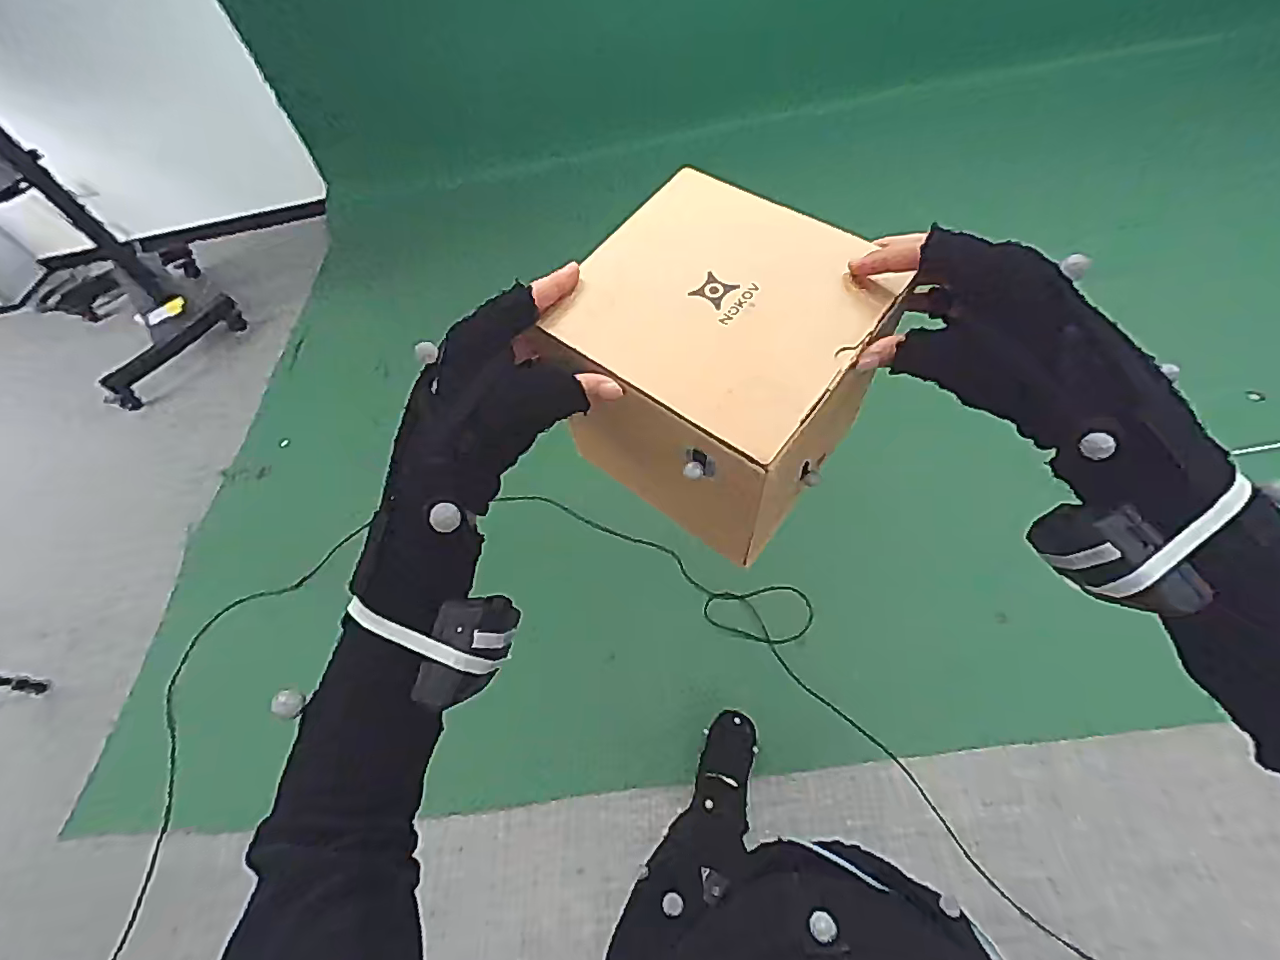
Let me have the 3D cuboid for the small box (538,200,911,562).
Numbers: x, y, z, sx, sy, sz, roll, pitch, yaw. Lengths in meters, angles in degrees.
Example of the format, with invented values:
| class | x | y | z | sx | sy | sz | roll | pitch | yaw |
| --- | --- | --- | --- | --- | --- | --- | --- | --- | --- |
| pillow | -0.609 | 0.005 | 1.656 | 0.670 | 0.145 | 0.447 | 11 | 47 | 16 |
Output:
| class | x | y | z | sx | sy | sz | roll | pitch | yaw |
| --- | --- | --- | --- | --- | --- | --- | --- | --- | --- |
| small box | 0.057 | -0.064 | 0.407 | 0.179 | 0.176 | 0.168 | 35 | 72 | 20 |
